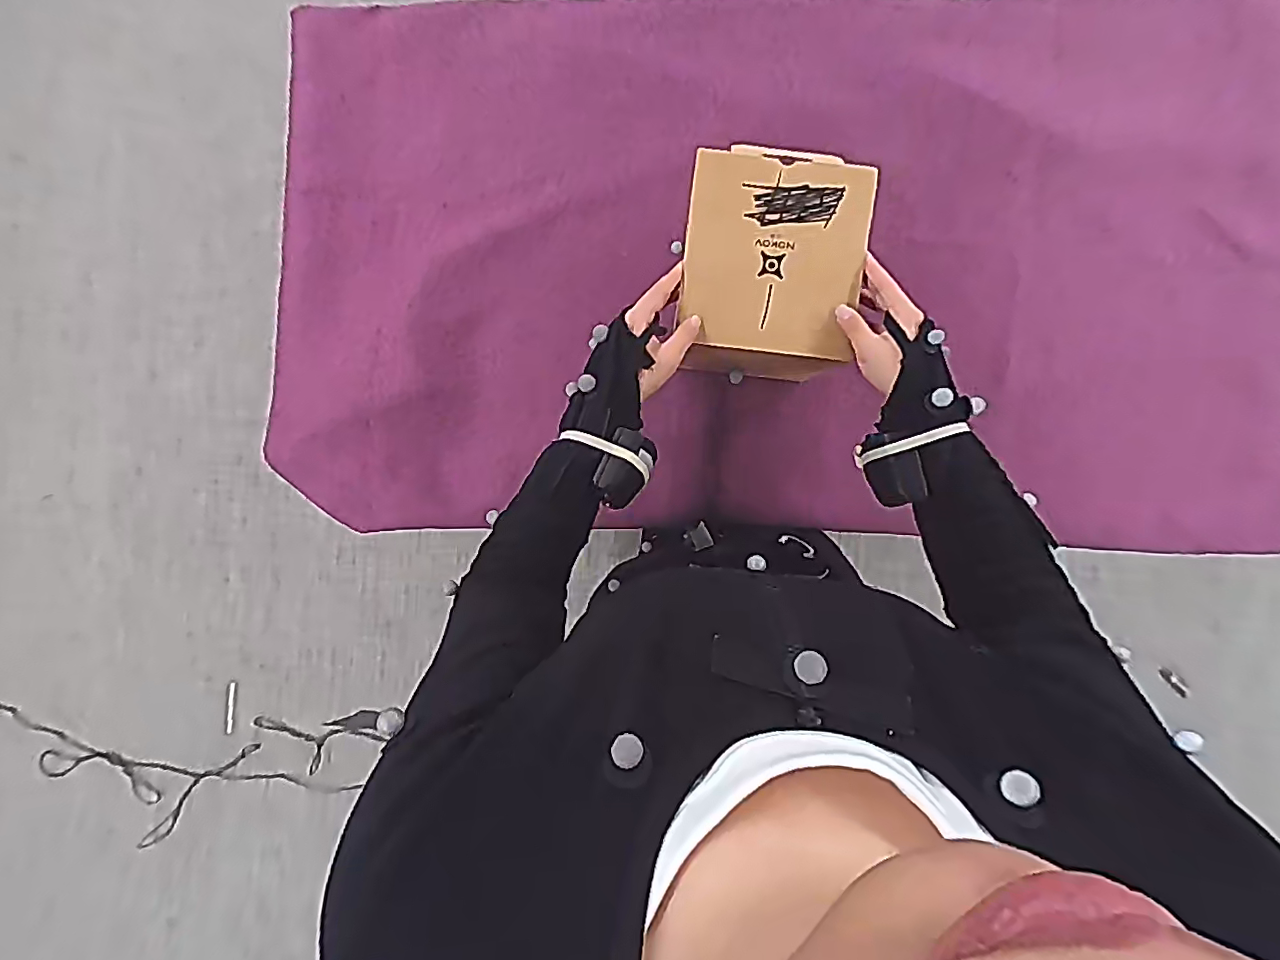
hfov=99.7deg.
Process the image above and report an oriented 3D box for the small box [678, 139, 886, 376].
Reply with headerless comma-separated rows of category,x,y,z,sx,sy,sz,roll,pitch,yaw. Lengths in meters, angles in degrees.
small box,0.131,-0.215,0.567,0.168,0.176,0.179,7,94,2
